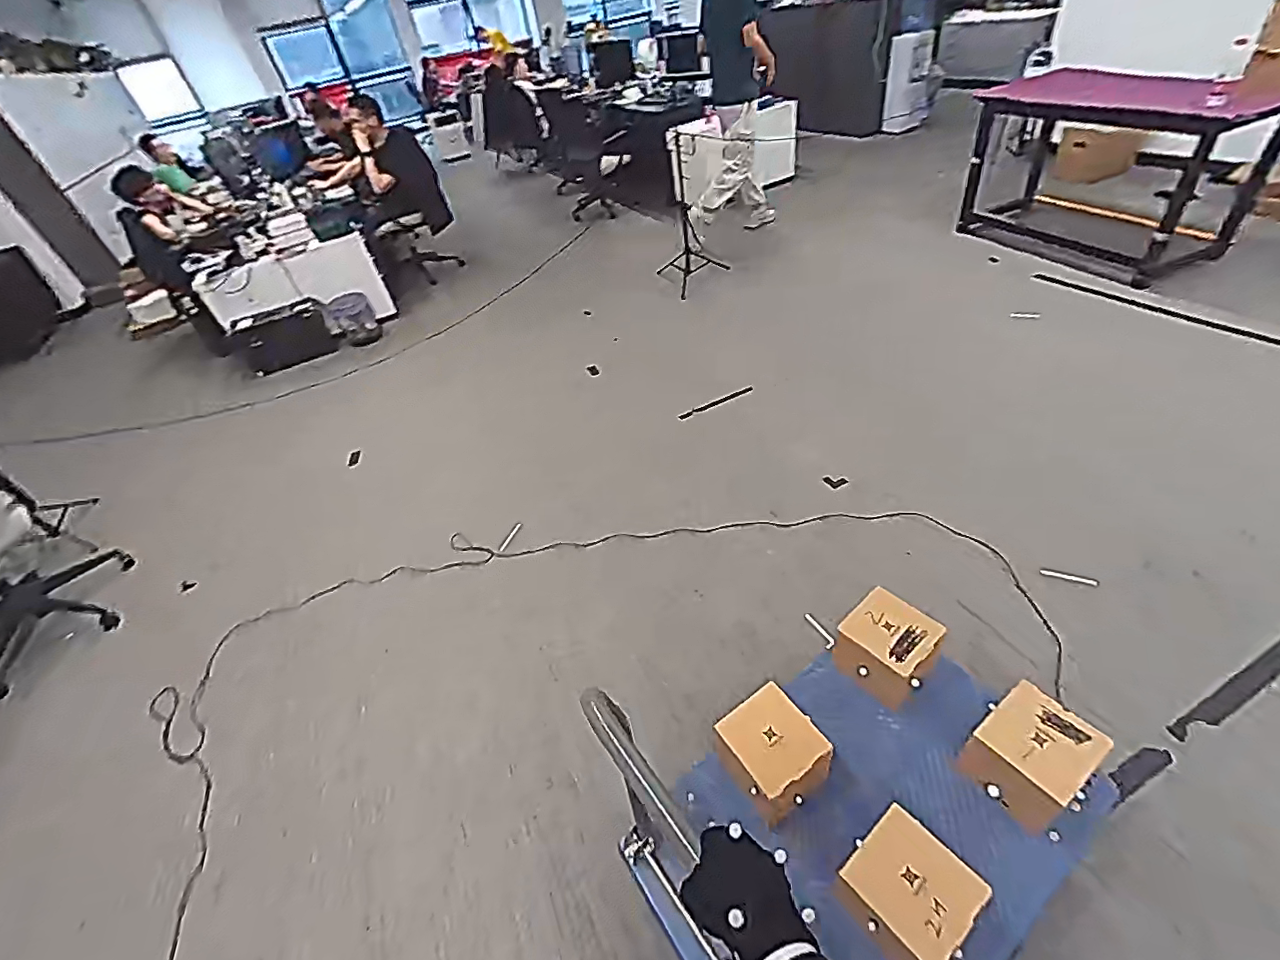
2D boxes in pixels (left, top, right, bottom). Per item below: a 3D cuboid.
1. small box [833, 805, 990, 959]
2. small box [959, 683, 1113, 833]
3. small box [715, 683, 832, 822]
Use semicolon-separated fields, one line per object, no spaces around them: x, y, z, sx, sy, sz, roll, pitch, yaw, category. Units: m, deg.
0.459;0.723;0.942;0.168;0.176;0.179;-33;46;-22;small box
0.765;0.547;1.066;0.179;0.176;0.168;-32;45;-19;small box
0.276;0.578;1.146;0.168;0.176;0.179;-29;46;-19;small box
